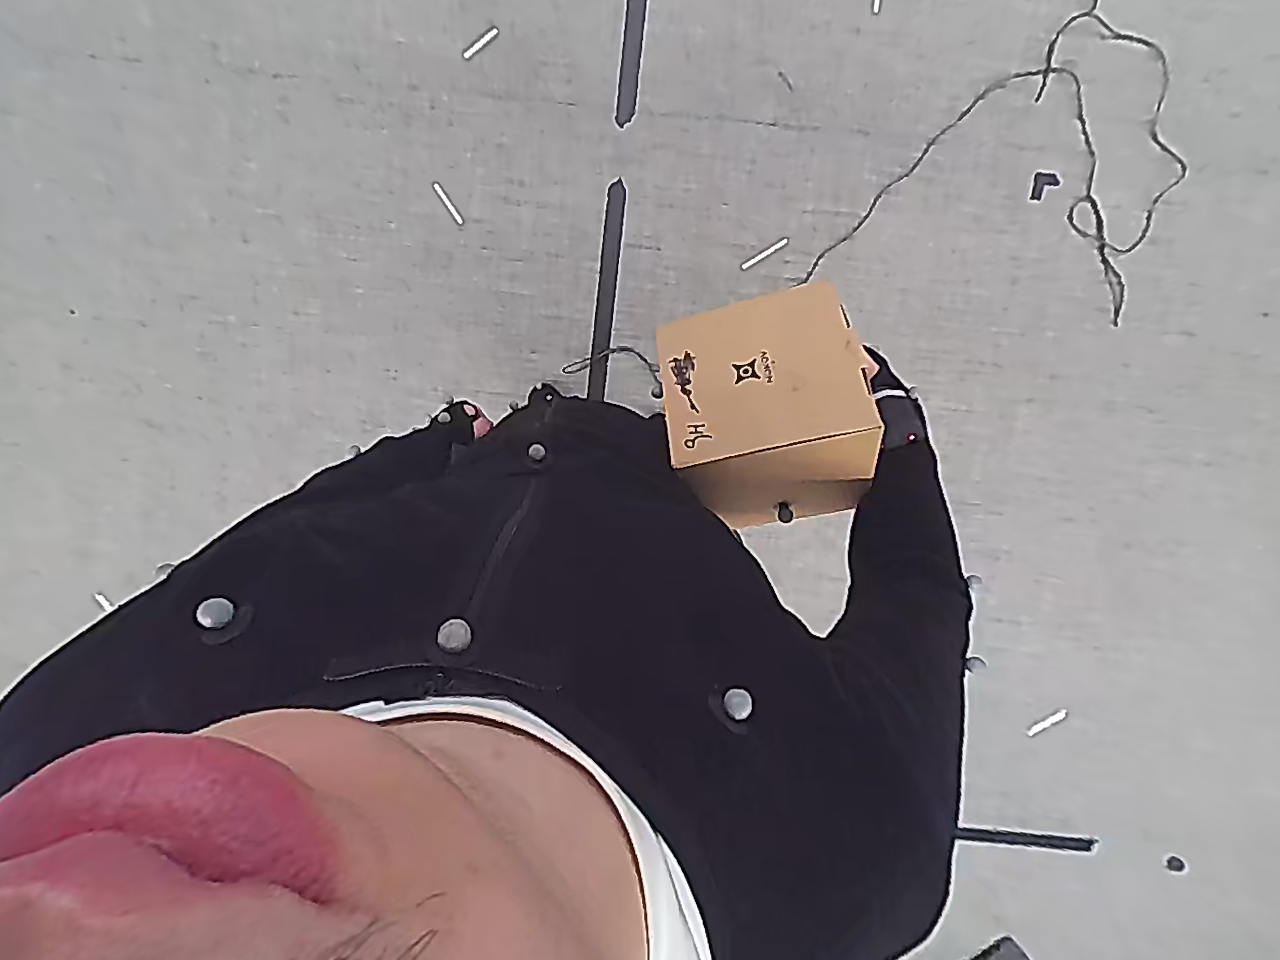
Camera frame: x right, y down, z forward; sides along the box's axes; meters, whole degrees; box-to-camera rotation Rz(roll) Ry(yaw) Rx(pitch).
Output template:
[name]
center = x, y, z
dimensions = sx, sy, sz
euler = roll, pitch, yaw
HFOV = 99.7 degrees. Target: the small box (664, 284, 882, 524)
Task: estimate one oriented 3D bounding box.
[small box]
center = 0.133, -0.067, 0.569
dimensions = 0.179, 0.176, 0.168
euler = -11, 61, 13
